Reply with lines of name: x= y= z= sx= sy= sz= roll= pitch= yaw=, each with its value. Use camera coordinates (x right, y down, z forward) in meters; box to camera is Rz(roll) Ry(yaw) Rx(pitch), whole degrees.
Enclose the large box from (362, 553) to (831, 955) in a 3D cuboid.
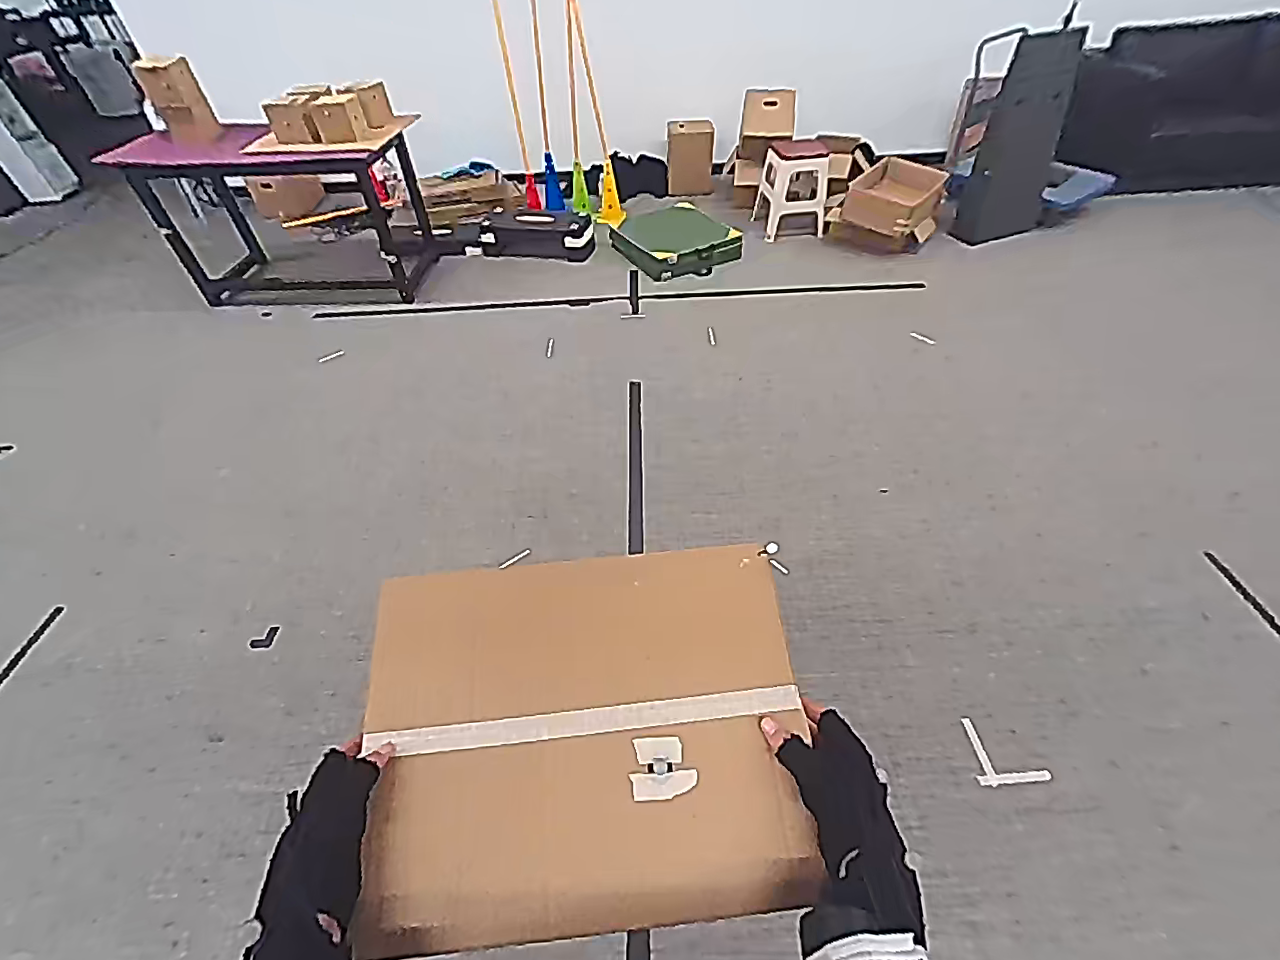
large box: x=-0.049 y=0.303 z=0.649 sx=0.408 sy=0.320 sz=0.320 roll=-5 pitch=63 yaw=-3
